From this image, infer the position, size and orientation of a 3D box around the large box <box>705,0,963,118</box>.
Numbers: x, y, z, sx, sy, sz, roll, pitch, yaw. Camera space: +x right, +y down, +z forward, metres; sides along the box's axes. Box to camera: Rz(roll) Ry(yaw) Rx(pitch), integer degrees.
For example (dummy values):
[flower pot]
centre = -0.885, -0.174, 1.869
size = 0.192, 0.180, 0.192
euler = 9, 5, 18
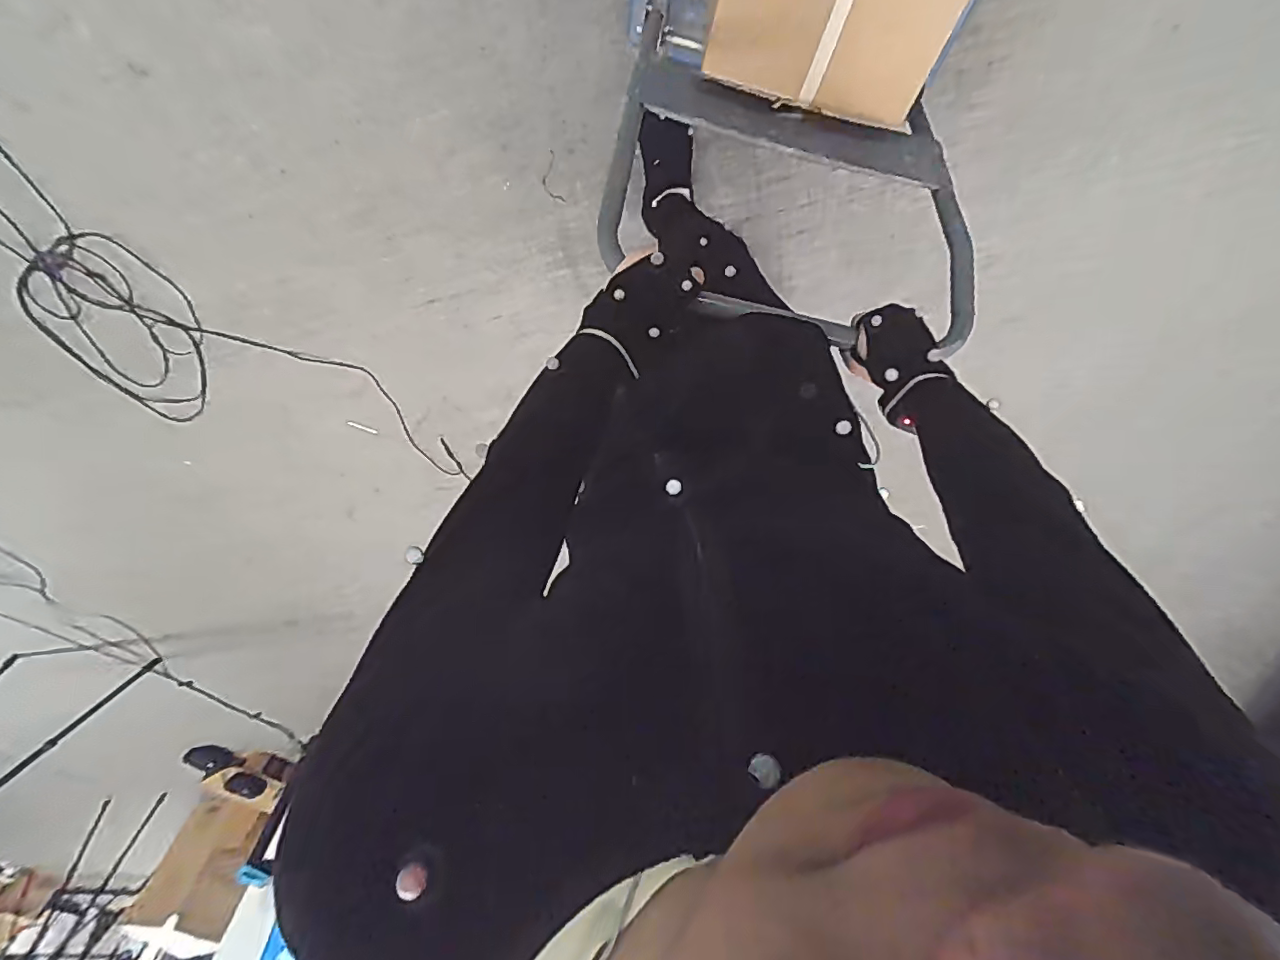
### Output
[large box]
centre = 0.291, -0.794, 0.720
size = 0.320, 0.320, 0.408
euler = 11, 144, -6
